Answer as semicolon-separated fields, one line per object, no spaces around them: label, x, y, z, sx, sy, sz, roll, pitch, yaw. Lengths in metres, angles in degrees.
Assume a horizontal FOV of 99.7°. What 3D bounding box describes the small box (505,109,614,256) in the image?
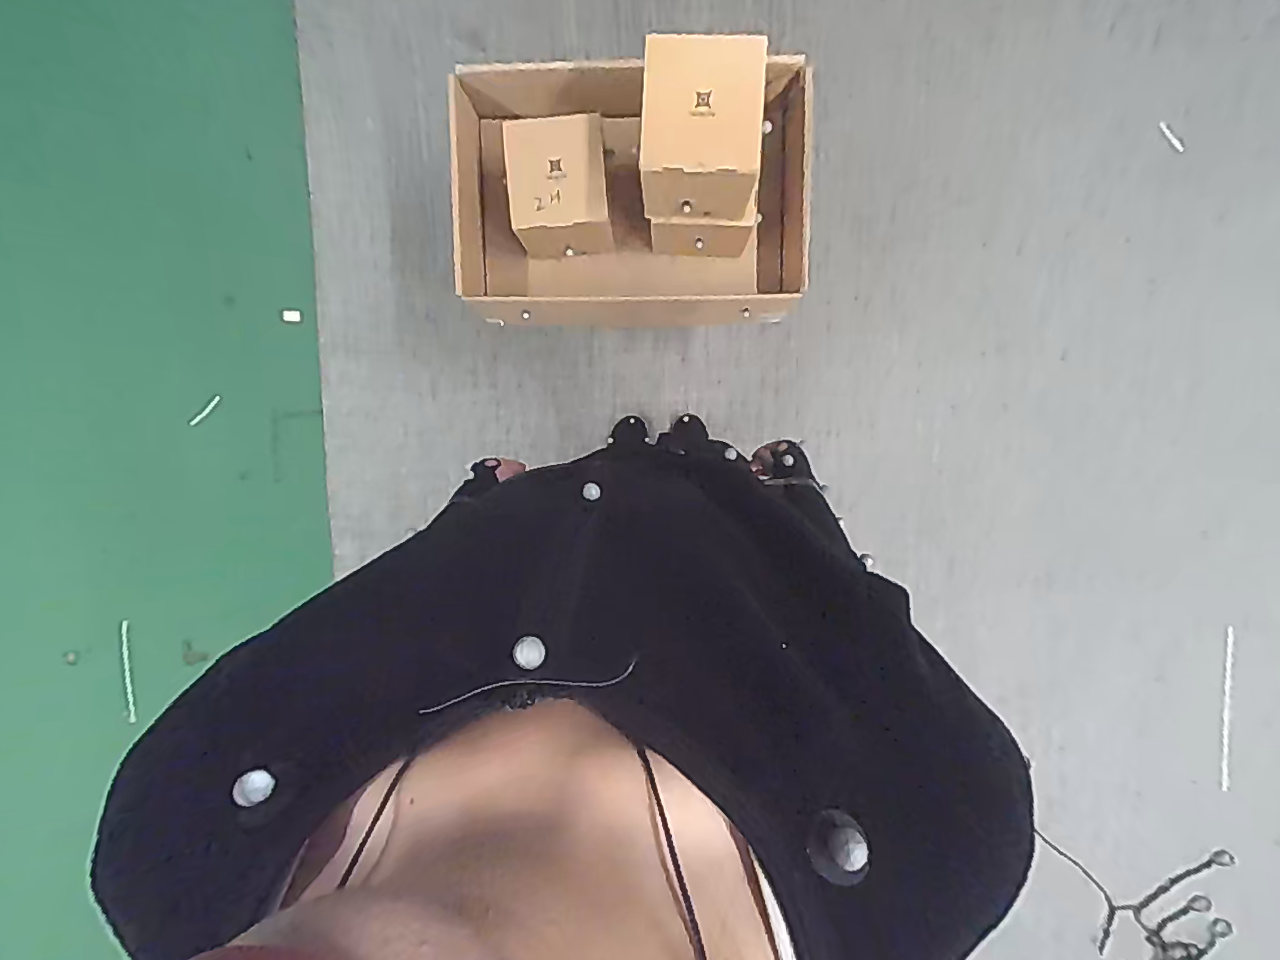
small box;-0.137;-0.523;0.971;0.168;0.176;0.179;-4;95;2

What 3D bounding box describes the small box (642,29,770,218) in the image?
small box;0.090;-0.516;0.803;0.168;0.176;0.179;3;95;2
